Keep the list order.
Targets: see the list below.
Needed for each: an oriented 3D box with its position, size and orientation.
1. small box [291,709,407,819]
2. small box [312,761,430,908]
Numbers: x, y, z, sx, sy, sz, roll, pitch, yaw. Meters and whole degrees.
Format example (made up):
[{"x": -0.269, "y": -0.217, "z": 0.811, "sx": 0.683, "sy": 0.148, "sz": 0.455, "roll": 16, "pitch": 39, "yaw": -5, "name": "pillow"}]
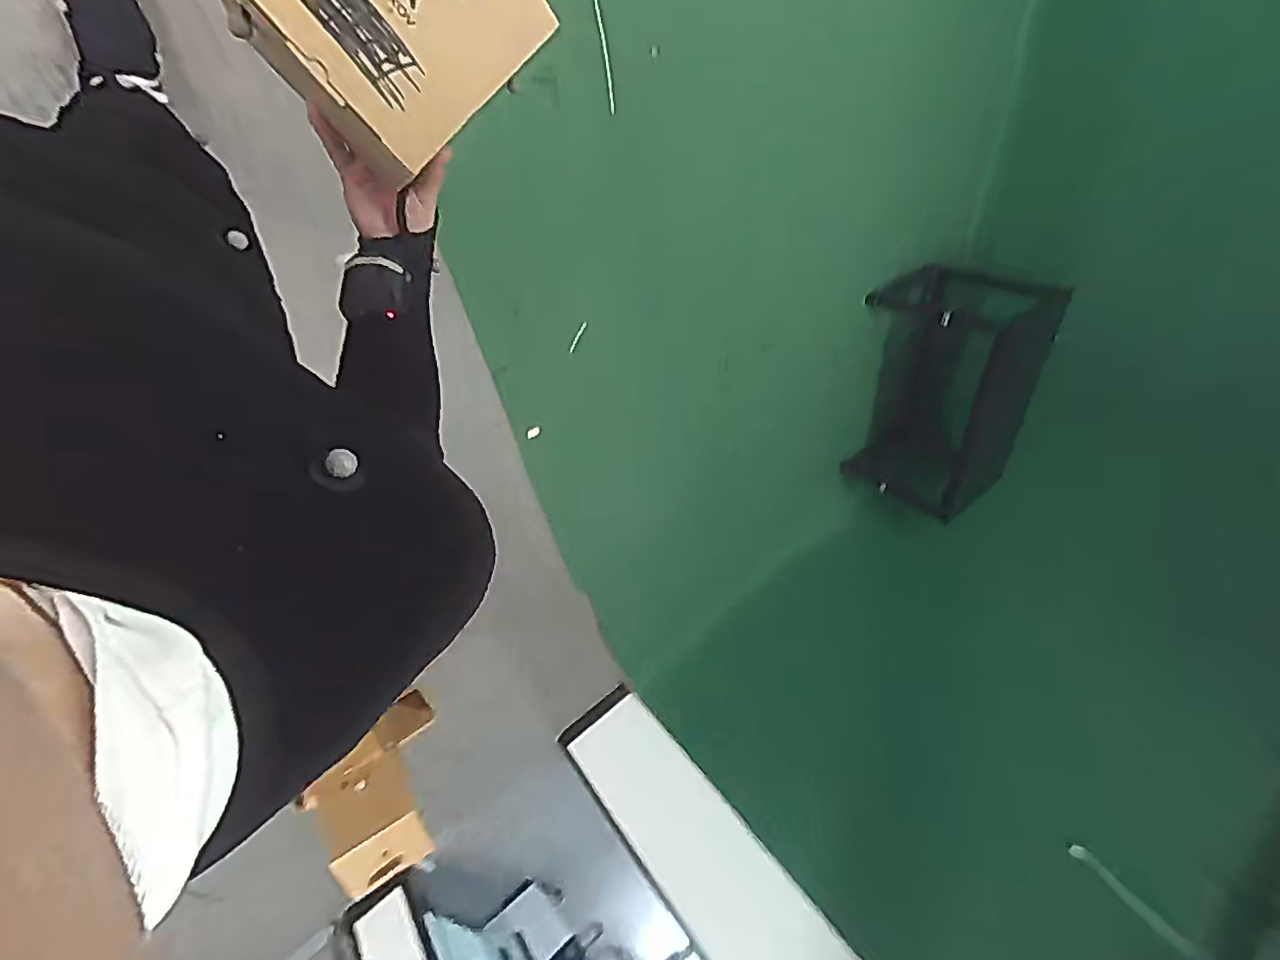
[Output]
[{"x": -0.678, "y": 0.677, "z": 1.264, "sx": 0.168, "sy": 0.176, "sz": 0.179, "roll": -32, "pitch": 132, "yaw": -23, "name": "small box"}, {"x": -0.575, "y": 0.749, "z": 1.158, "sx": 0.168, "sy": 0.176, "sz": 0.179, "roll": -24, "pitch": 128, "yaw": -29, "name": "small box"}]
